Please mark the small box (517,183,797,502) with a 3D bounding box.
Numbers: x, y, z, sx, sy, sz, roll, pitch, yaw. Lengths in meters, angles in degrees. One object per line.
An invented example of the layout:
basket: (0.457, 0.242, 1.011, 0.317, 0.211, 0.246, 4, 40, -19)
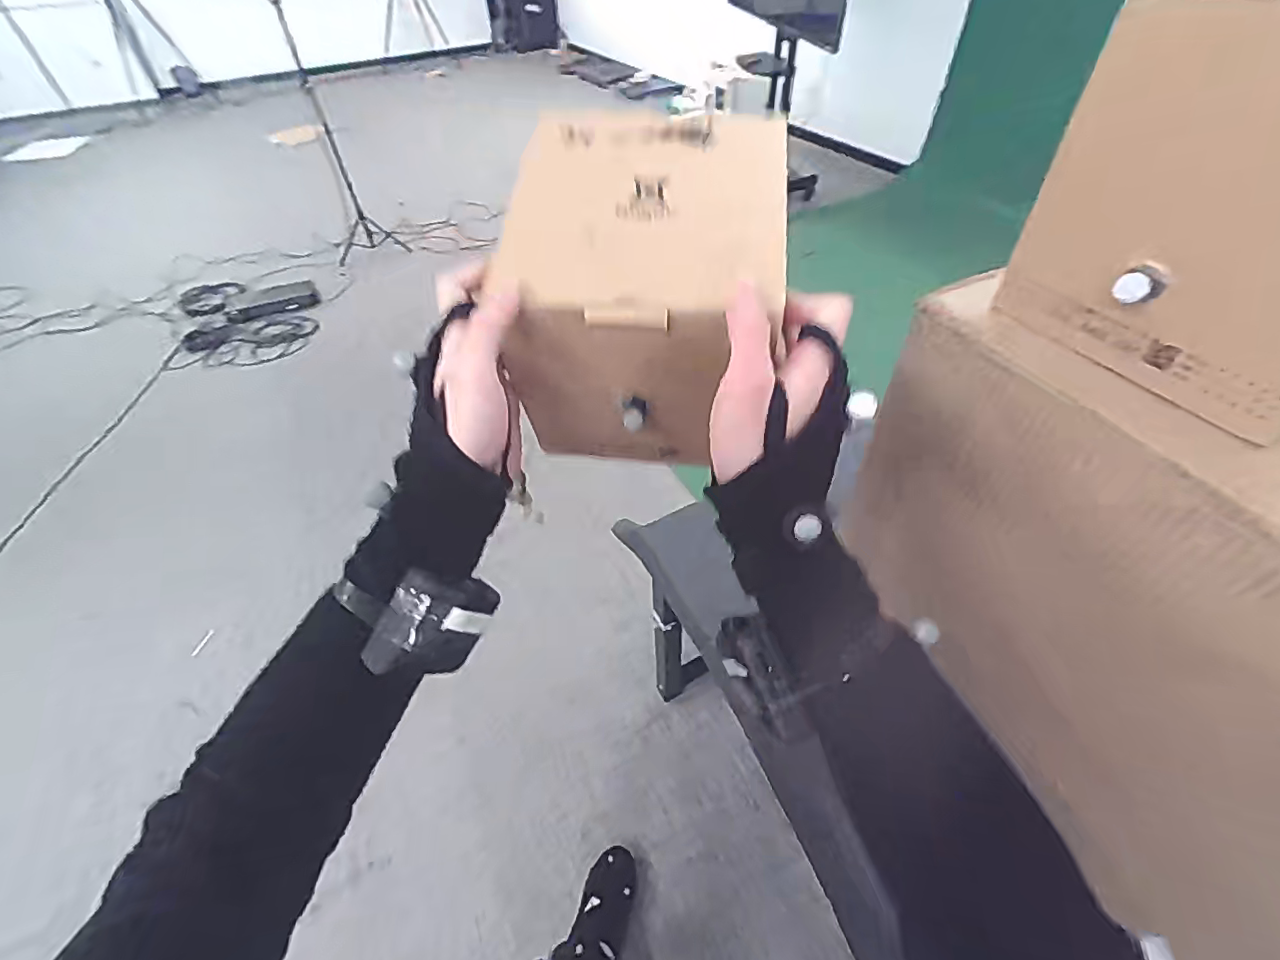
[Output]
small box: (0.021, -0.095, 0.415, 0.168, 0.176, 0.179, 3, 62, 6)
